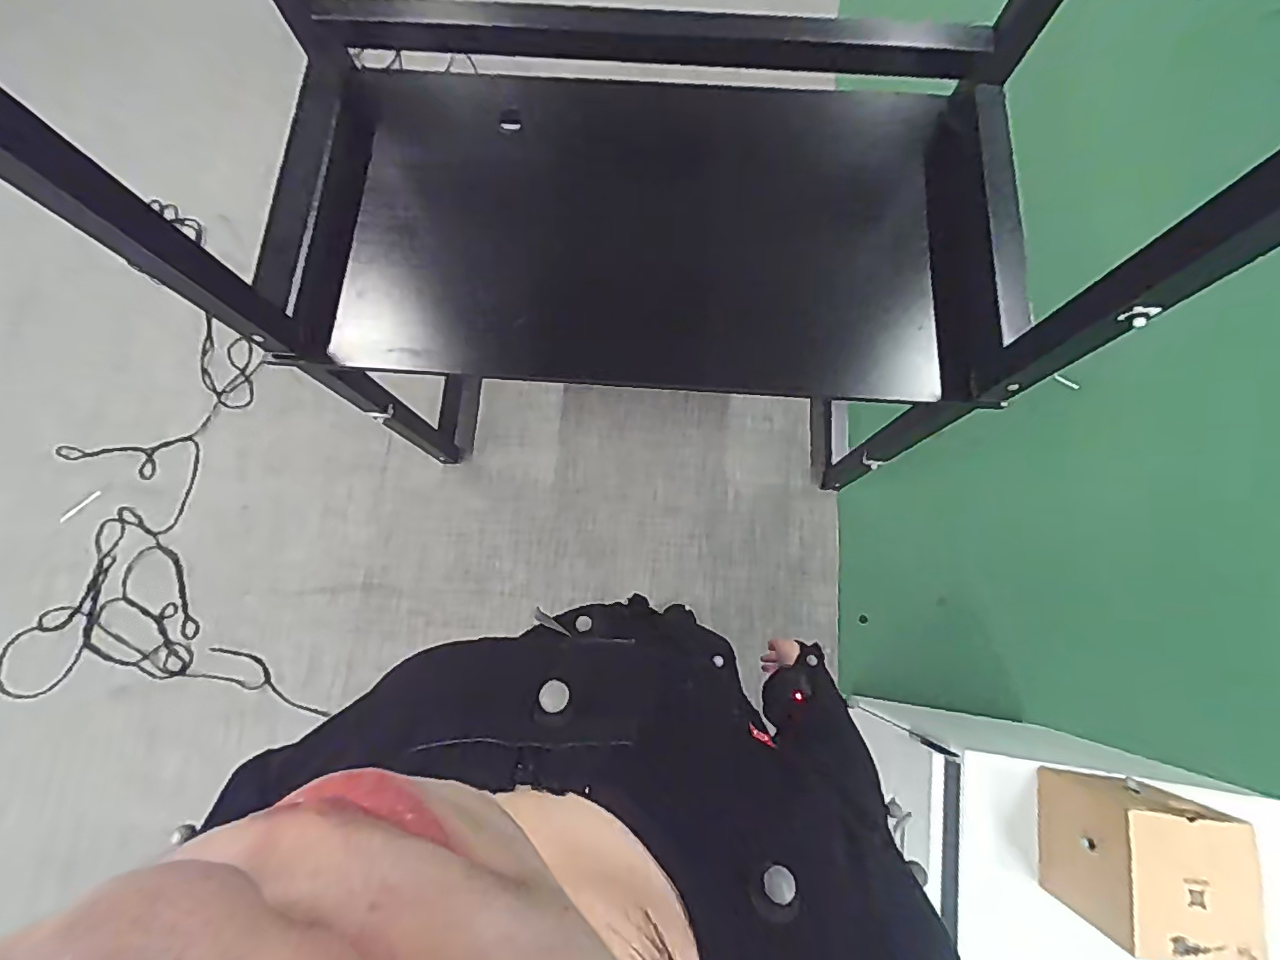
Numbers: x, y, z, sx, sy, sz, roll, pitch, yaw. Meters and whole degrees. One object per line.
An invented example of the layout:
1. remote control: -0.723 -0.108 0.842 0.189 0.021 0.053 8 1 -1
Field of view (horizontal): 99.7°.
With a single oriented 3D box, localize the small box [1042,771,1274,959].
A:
1. small box: 0.697 0.528 0.752 0.168 0.176 0.179 7 78 3
